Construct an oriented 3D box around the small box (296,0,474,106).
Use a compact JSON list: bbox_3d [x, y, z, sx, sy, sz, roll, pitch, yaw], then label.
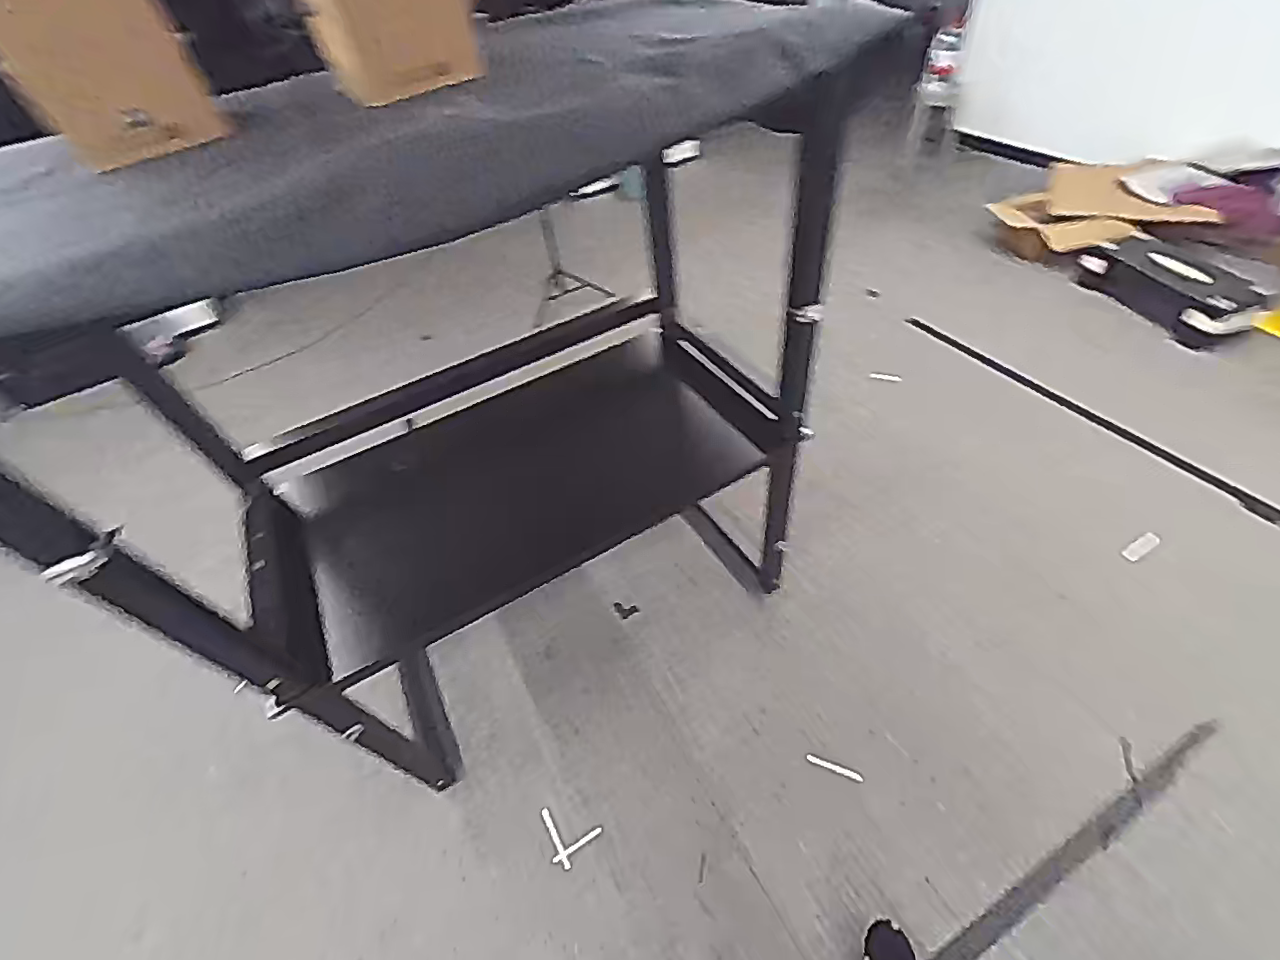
[{"bbox_3d":[-0.350,-0.623,0.722,0.168,0.176,0.179,-32,52,-18],"label":"small box"}]
